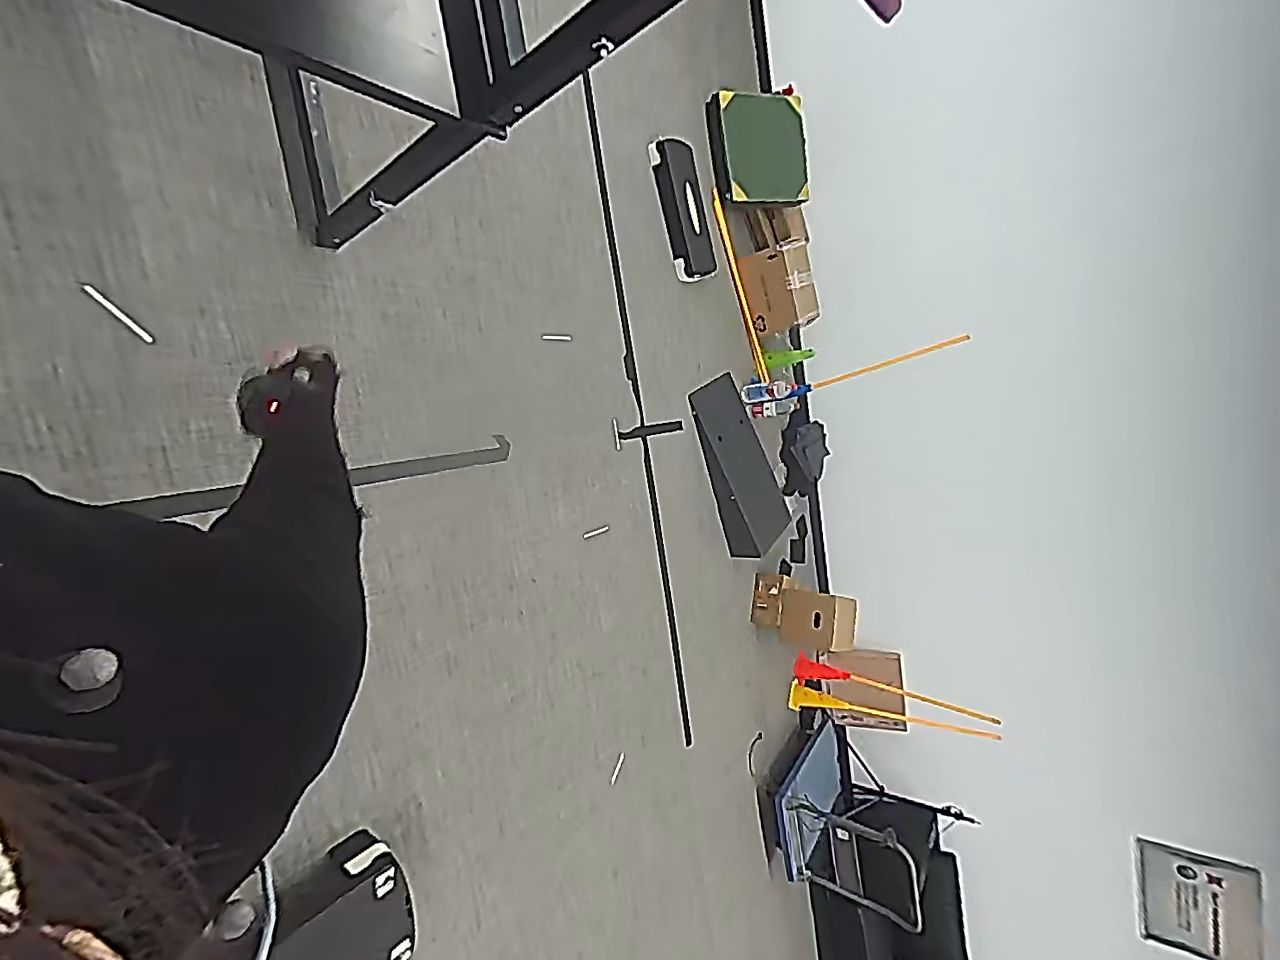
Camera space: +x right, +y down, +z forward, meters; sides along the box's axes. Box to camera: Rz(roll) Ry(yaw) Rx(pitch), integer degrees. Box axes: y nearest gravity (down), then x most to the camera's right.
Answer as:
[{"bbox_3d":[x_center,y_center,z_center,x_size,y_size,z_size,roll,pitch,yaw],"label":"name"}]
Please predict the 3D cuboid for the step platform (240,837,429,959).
[{"bbox_3d":[-0.818,1.130,1.195,0.684,0.204,0.286,-7,92,-52],"label":"step platform"}]
